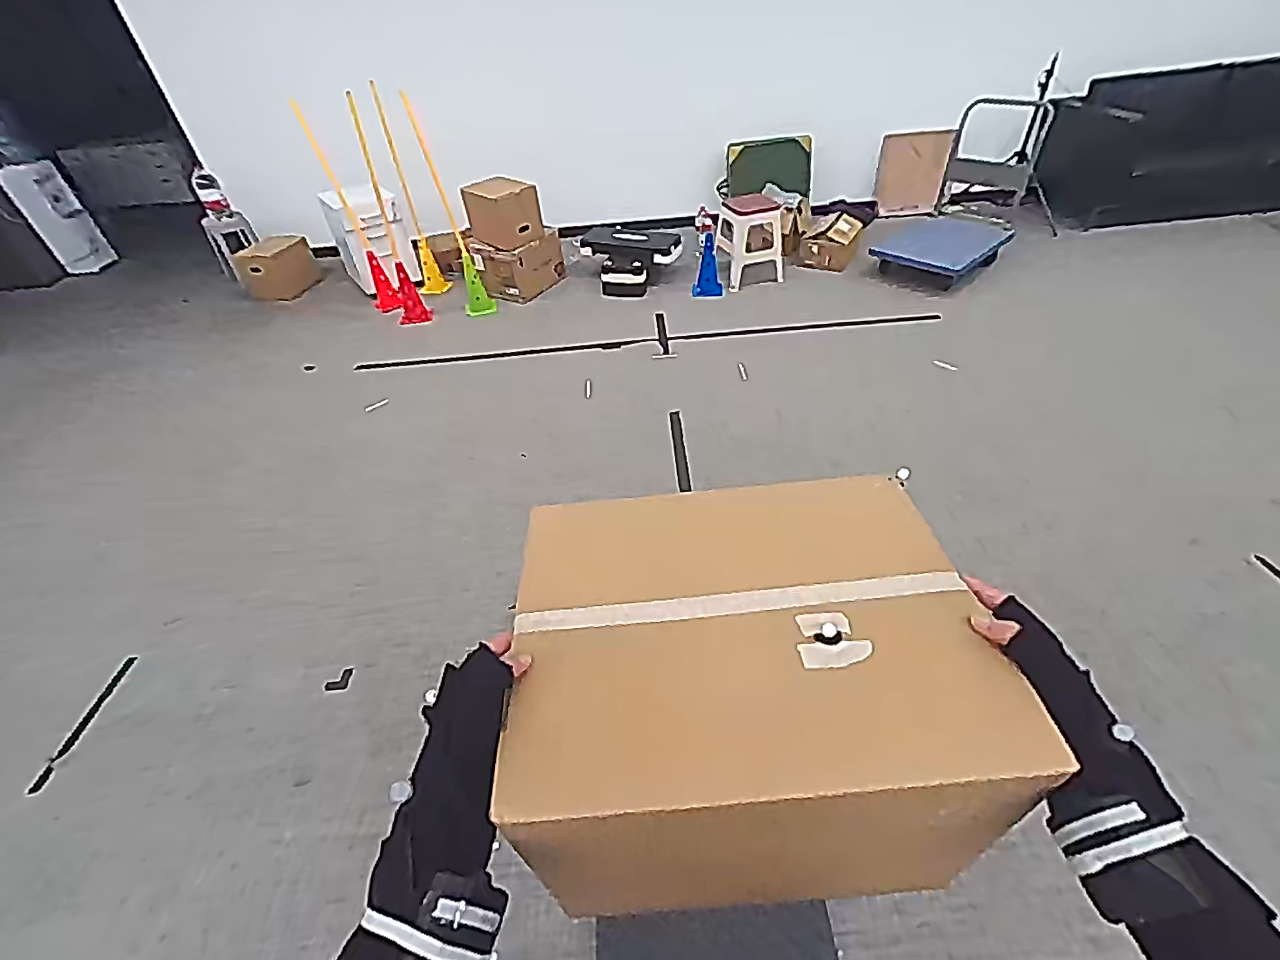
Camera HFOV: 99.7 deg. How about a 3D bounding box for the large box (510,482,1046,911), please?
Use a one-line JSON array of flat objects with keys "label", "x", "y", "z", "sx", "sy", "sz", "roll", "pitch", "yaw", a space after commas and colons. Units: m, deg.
[{"label": "large box", "x": 0.102, "y": 0.234, "z": 0.599, "sx": 0.408, "sy": 0.320, "sz": 0.320, "roll": -6, "pitch": 41, "yaw": 1}]
